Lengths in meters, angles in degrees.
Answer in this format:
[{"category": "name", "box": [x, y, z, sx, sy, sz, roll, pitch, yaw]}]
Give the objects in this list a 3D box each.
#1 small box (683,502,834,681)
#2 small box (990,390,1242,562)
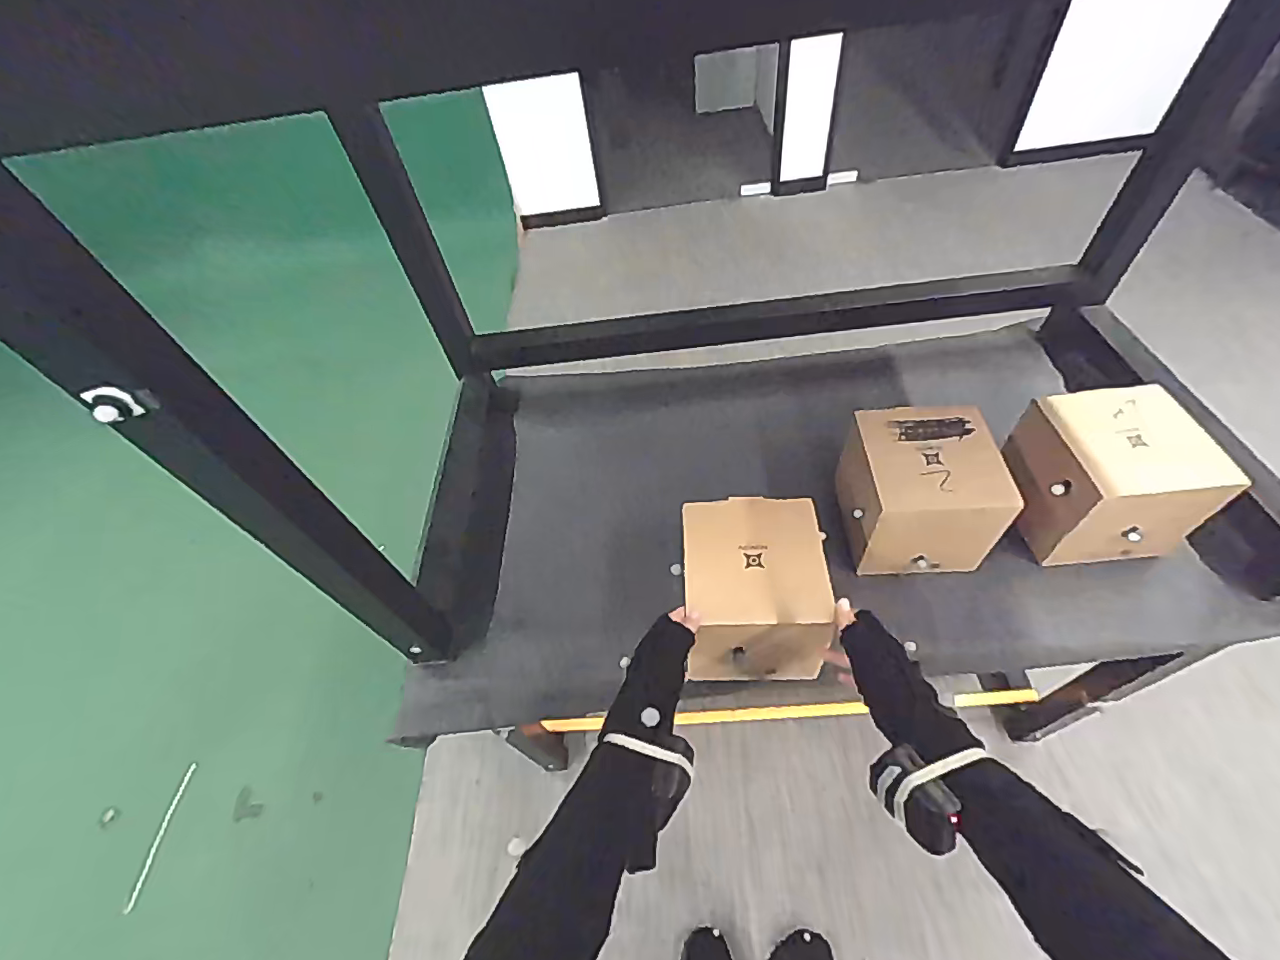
[{"category": "small box", "box": [0.143, 0.150, 0.704, 0.168, 0.176, 0.179, -2, 48, 5]}, {"category": "small box", "box": [0.632, 0.003, 0.750, 0.168, 0.176, 0.179, -6, 51, 4]}]
